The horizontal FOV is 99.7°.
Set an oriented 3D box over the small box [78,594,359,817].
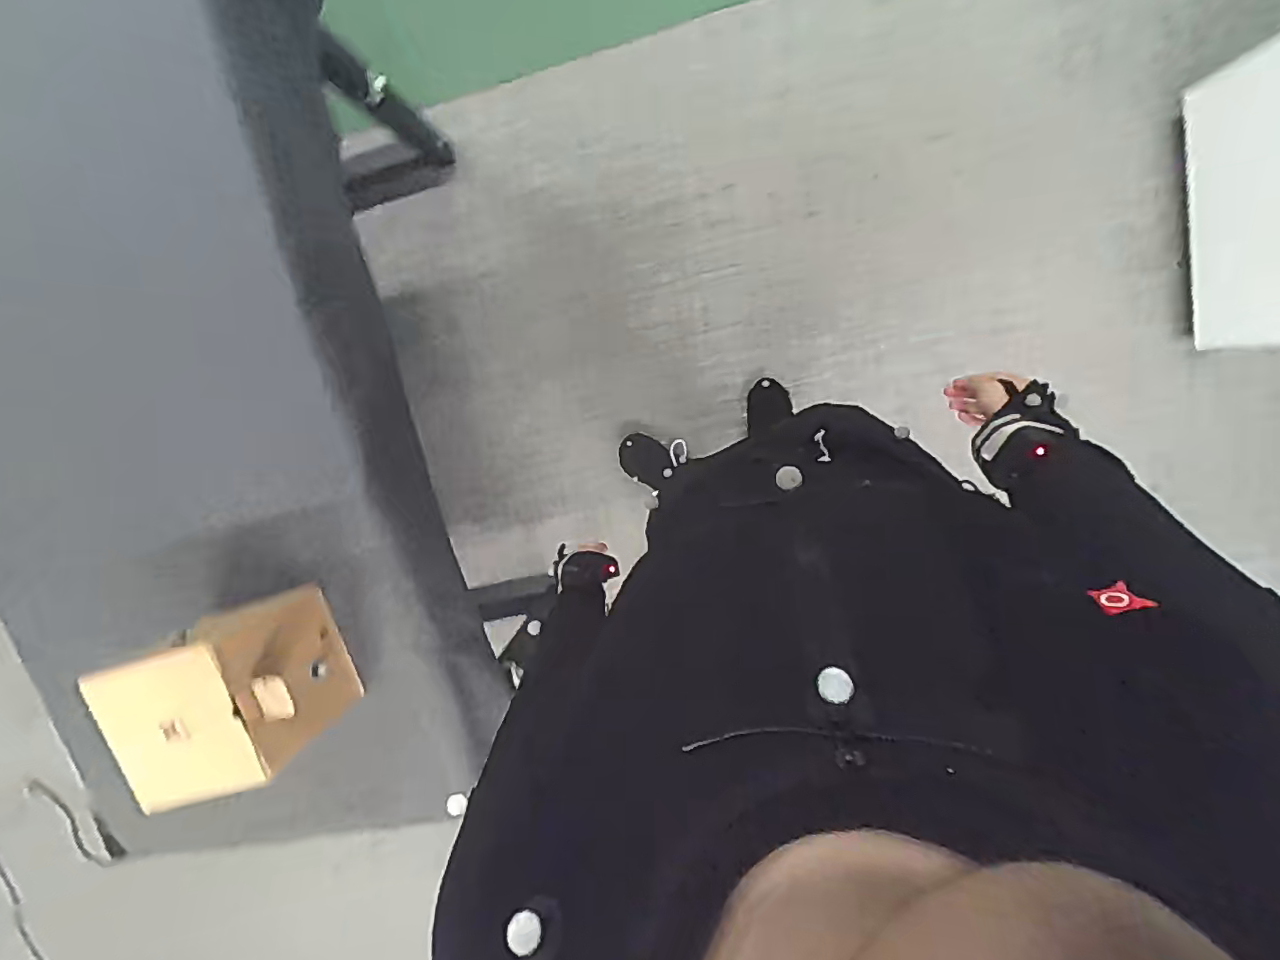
[{"bbox_3d":[-0.487,0.259,0.652,0.179,0.176,0.168,-18,97,9],"label":"small box"}]
